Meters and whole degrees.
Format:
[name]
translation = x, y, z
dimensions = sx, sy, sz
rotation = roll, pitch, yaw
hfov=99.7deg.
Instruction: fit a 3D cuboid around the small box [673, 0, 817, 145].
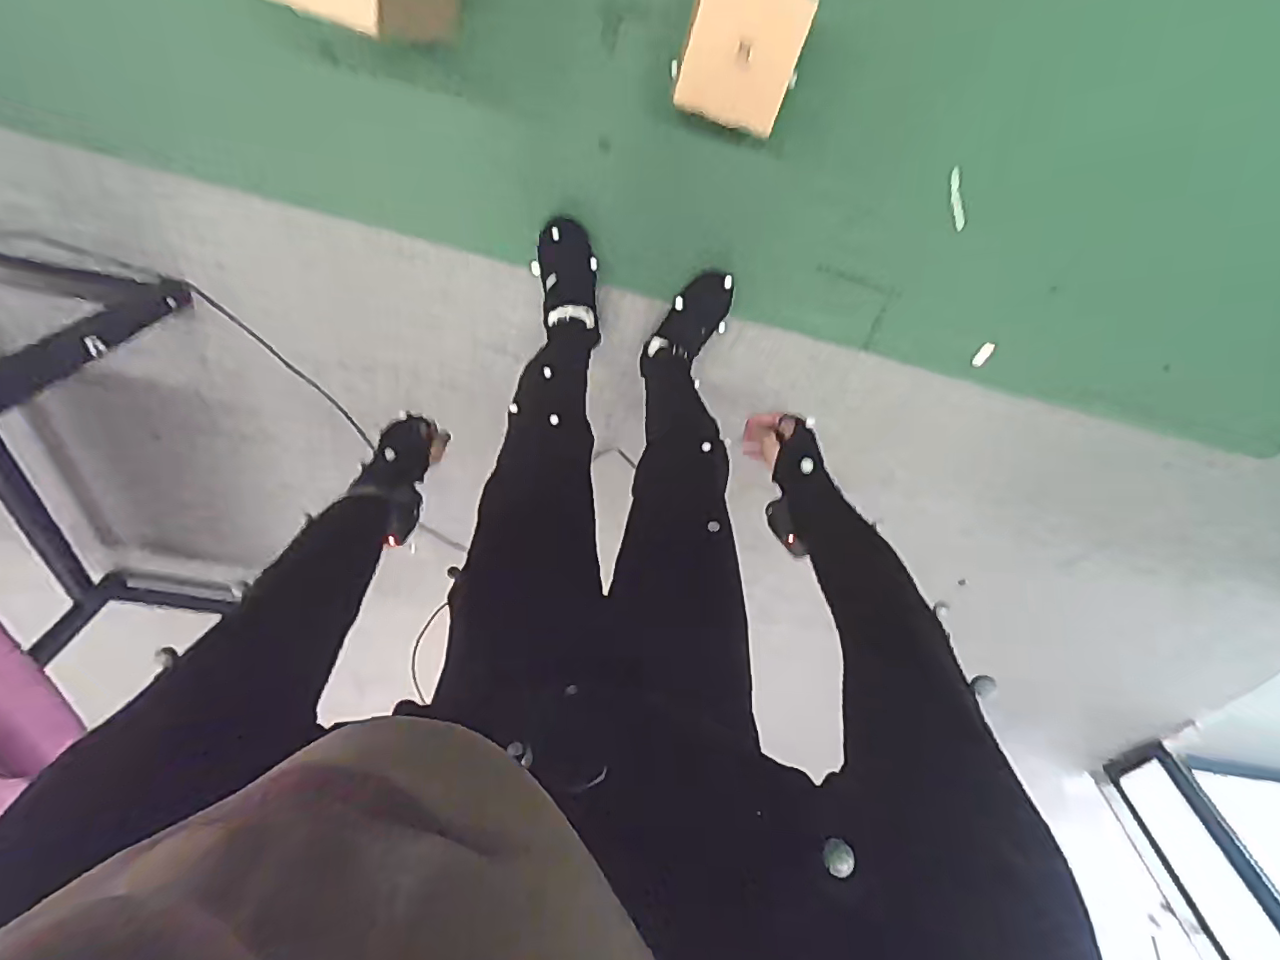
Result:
[small box]
translation = 0.154, -0.675, 0.875
dimensions = 0.168, 0.176, 0.179
rotation = 13, 128, -9
